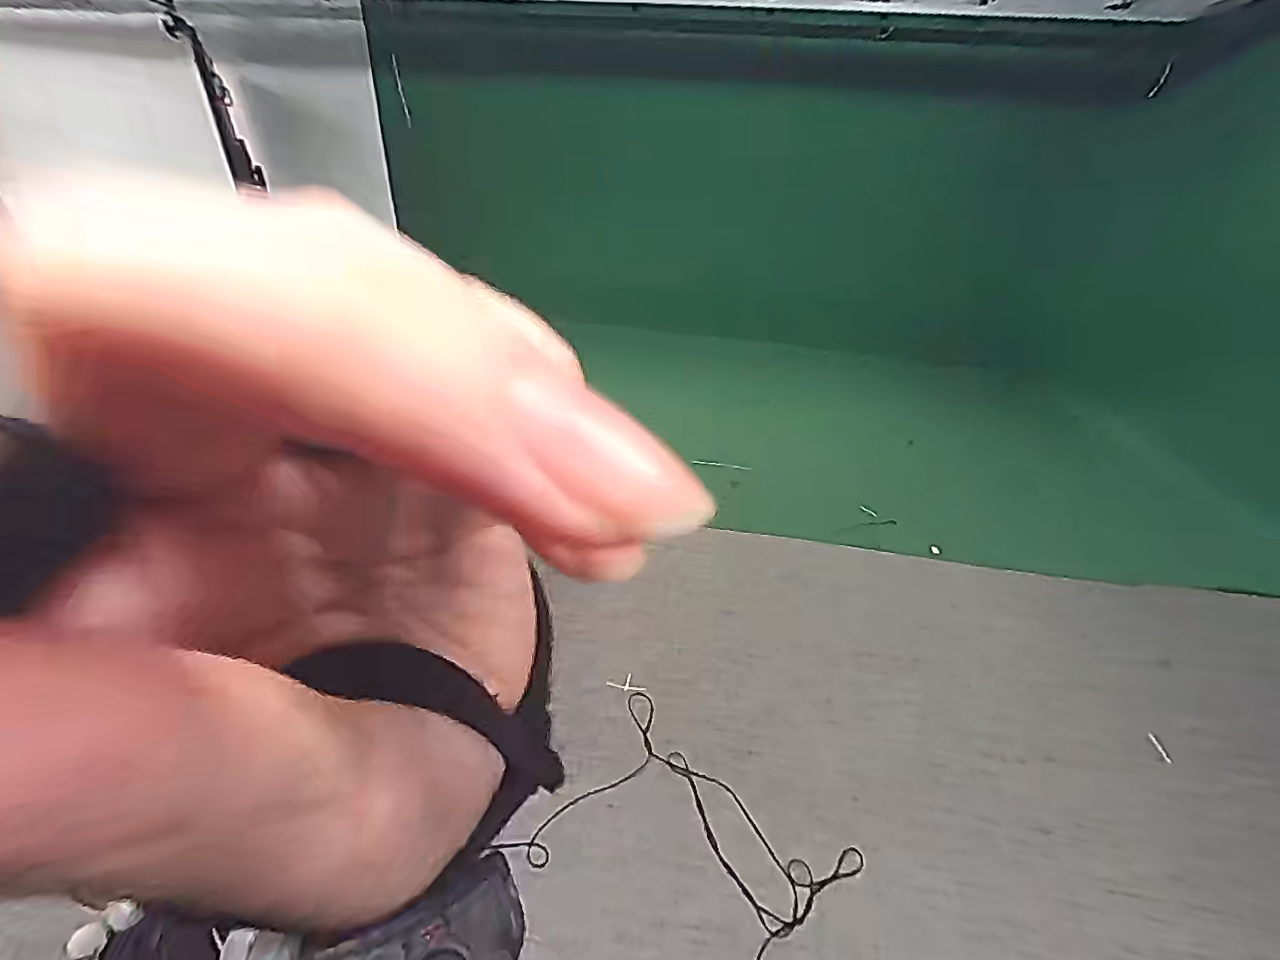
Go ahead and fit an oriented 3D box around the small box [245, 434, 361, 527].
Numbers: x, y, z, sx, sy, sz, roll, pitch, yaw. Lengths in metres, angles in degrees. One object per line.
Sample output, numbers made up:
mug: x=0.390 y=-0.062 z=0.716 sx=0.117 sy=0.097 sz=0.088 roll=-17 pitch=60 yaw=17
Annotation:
small box: x=-0.847 y=0.002 z=1.381 sx=0.168 sy=0.176 sz=0.179 roll=8 pitch=30 yaw=8
